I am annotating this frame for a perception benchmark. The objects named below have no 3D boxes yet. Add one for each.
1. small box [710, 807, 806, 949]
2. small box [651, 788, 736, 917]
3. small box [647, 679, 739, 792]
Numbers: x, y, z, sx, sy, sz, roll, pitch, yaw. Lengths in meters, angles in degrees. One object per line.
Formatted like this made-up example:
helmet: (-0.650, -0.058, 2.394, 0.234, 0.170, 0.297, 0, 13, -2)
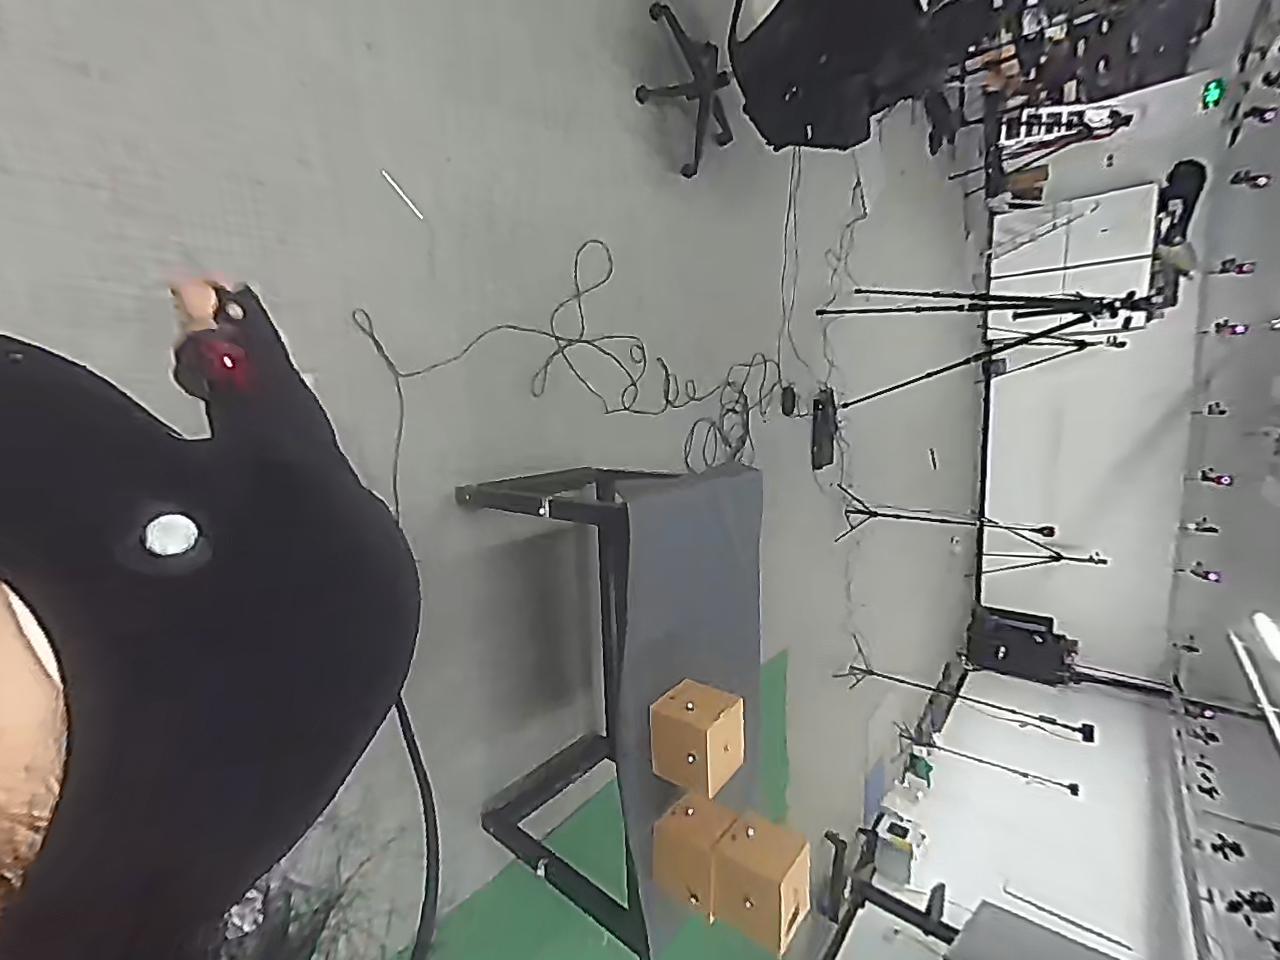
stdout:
small box: (0.274, 0.913, 1.261, 0.168, 0.176, 0.179, -7, 97, -52)
small box: (0.138, 0.920, 1.354, 0.168, 0.176, 0.179, -5, 96, -52)
small box: (0.127, 0.607, 1.319, 0.168, 0.176, 0.179, -13, 104, -50)
